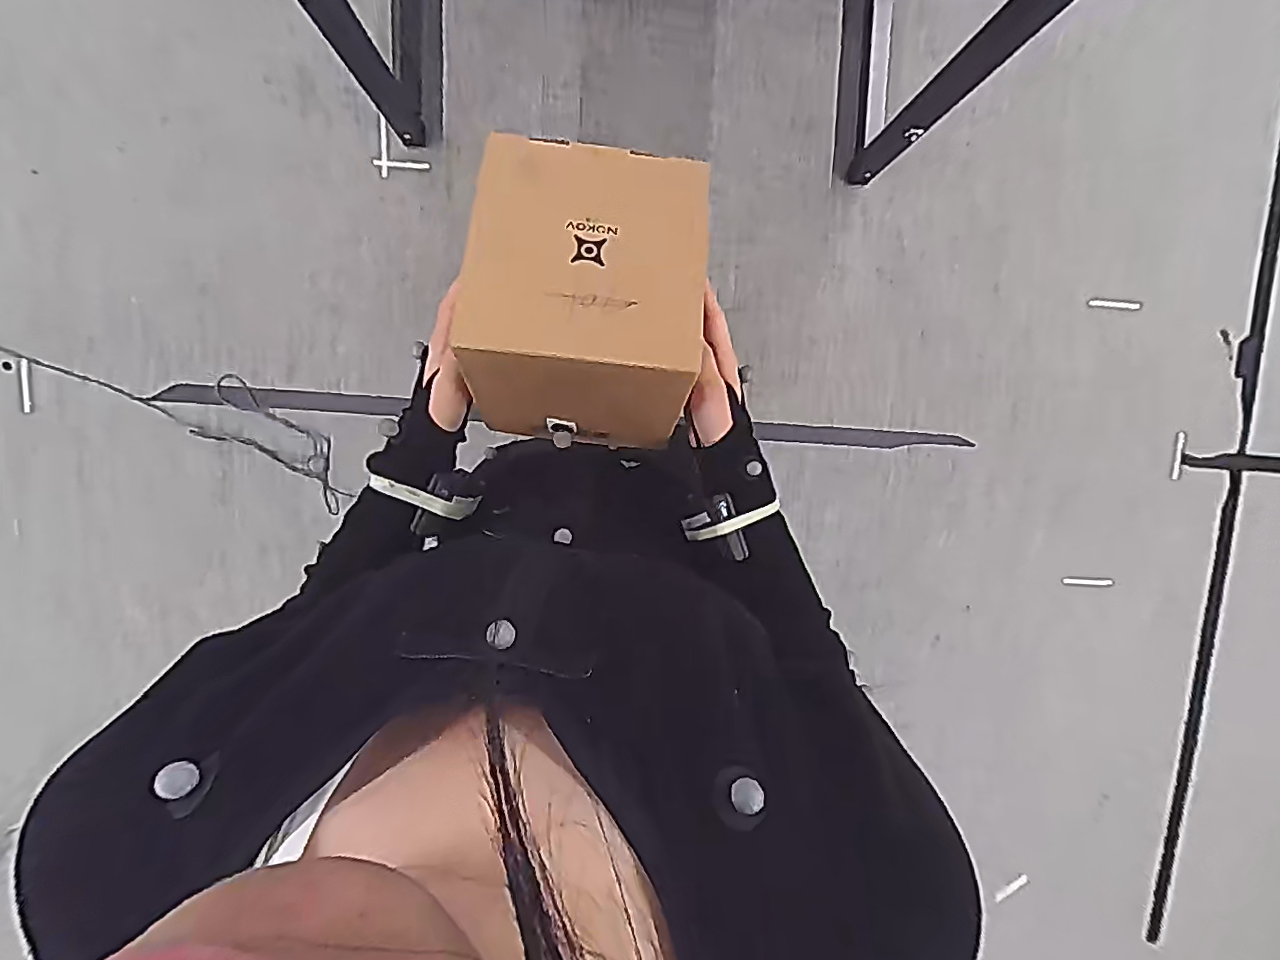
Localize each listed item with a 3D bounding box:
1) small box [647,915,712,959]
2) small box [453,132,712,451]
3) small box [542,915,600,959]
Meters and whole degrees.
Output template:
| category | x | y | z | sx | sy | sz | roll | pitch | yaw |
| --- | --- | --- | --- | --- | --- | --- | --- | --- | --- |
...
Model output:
| category | x | y | z | sx | sy | sz | roll | pitch | yaw |
| --- | --- | --- | --- | --- | --- | --- | --- | --- | --- |
| small box | 0.123 | 1.435 | 1.594 | 0.179 | 0.176 | 0.168 | -10 | 97 | -4 |
| small box | -0.042 | -0.138 | 0.448 | 0.168 | 0.176 | 0.179 | 5 | 75 | -4 |
| small box | -0.204 | 1.415 | 1.565 | 0.168 | 0.176 | 0.179 | 5 | 96 | -6 |
